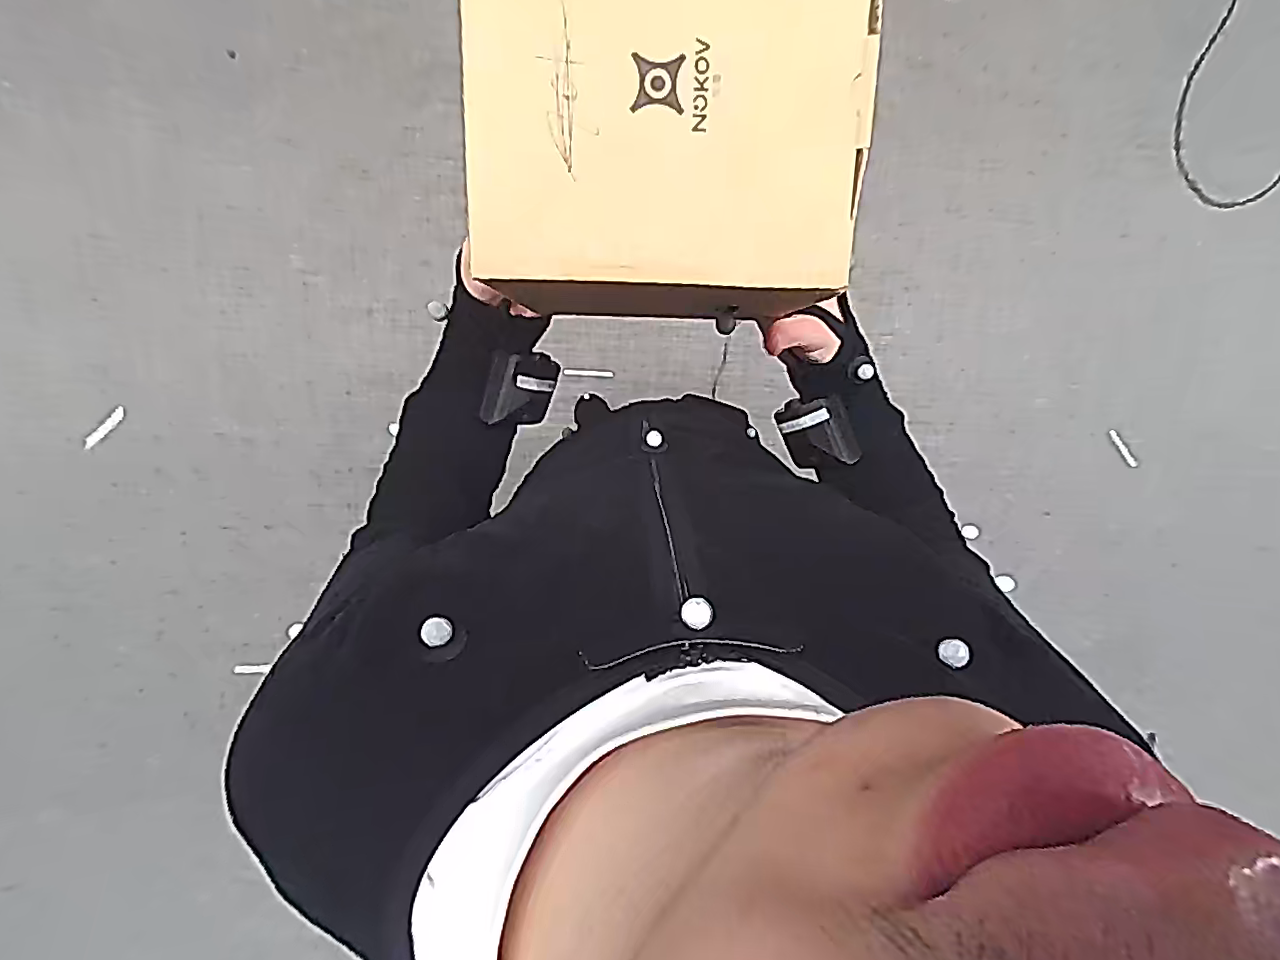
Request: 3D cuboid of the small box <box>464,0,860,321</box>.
[{"bbox_3d":[0.008,-0.188,0.321,0.179,0.176,0.168,1,102,0],"label":"small box"}]
